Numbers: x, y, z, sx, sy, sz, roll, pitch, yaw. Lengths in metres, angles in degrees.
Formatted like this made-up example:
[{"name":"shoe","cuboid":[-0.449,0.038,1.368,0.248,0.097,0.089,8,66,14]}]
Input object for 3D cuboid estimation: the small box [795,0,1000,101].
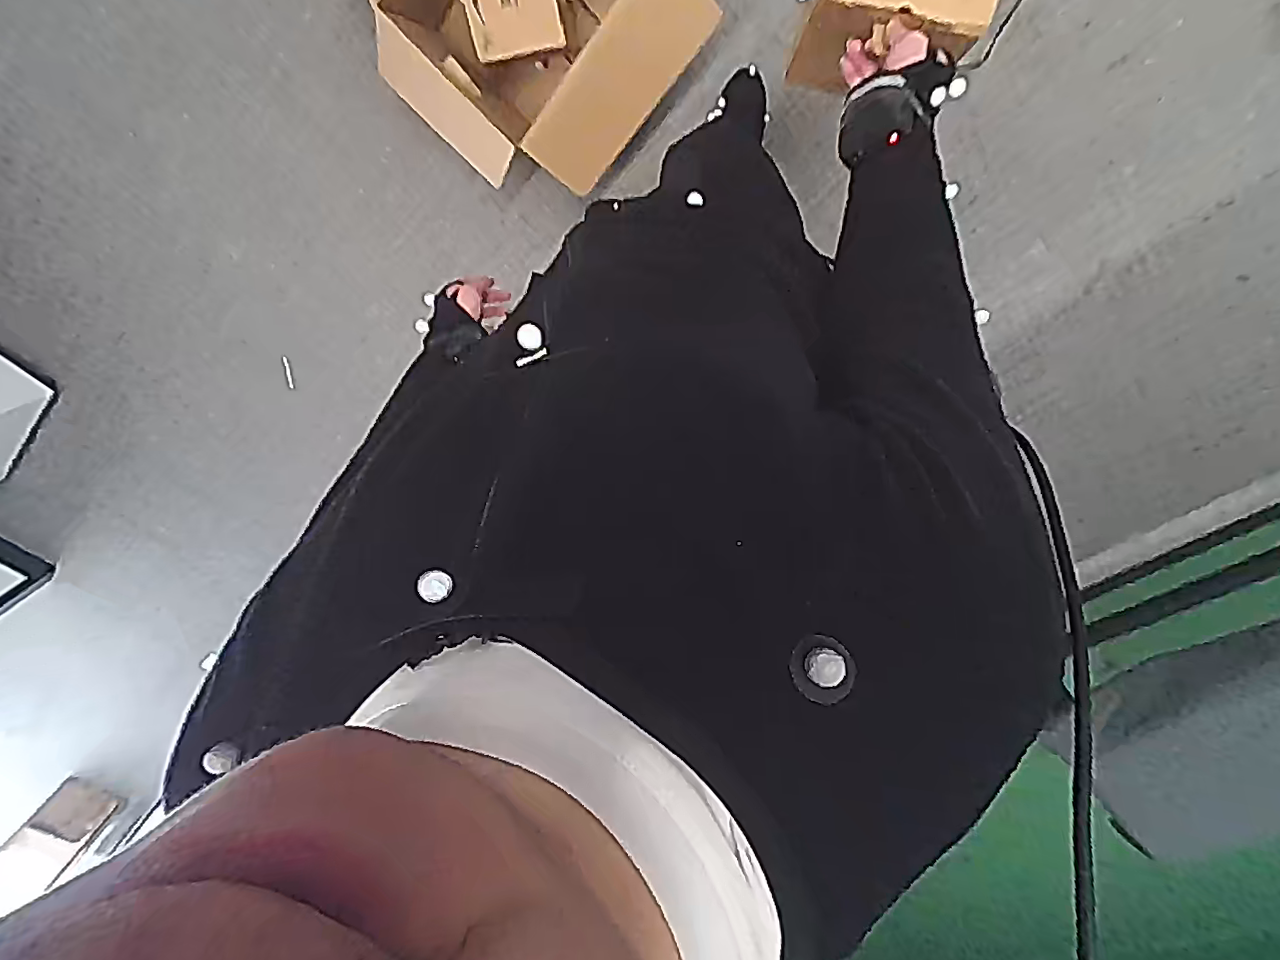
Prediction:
[{"name":"small box","cuboid":[0.278,-0.546,0.575,0.168,0.176,0.179,12,102,-1]}]
